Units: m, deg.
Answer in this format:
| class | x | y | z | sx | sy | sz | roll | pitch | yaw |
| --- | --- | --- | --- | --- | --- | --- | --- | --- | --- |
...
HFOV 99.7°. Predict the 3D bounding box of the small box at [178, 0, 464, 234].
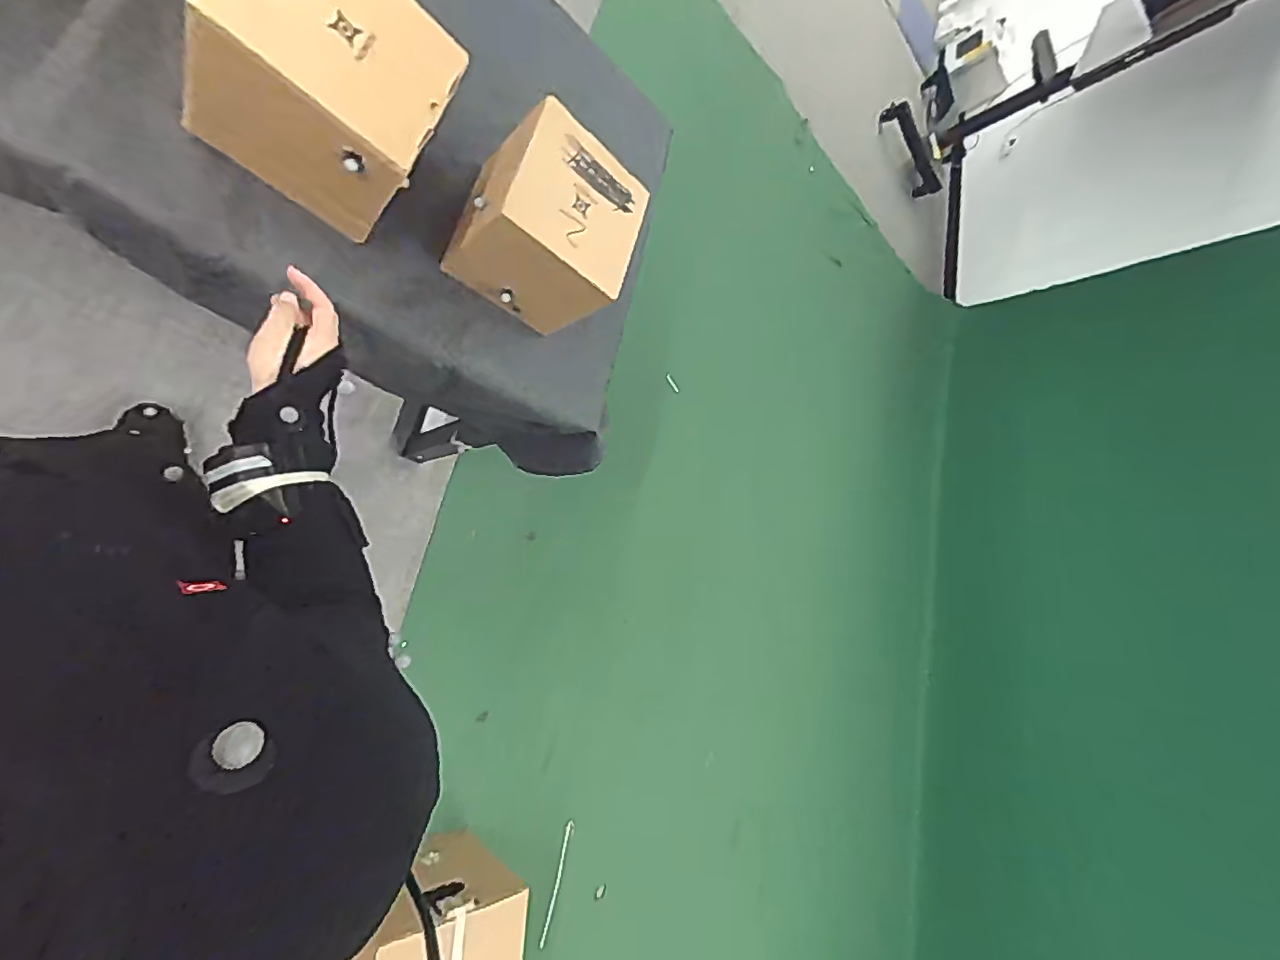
| class | x | y | z | sx | sy | sz | roll | pitch | yaw |
| --- | --- | --- | --- | --- | --- | --- | --- | --- | --- |
| small box | -0.312 | -0.382 | 0.530 | 0.179 | 0.176 | 0.168 | 31 | 66 | -37 |
